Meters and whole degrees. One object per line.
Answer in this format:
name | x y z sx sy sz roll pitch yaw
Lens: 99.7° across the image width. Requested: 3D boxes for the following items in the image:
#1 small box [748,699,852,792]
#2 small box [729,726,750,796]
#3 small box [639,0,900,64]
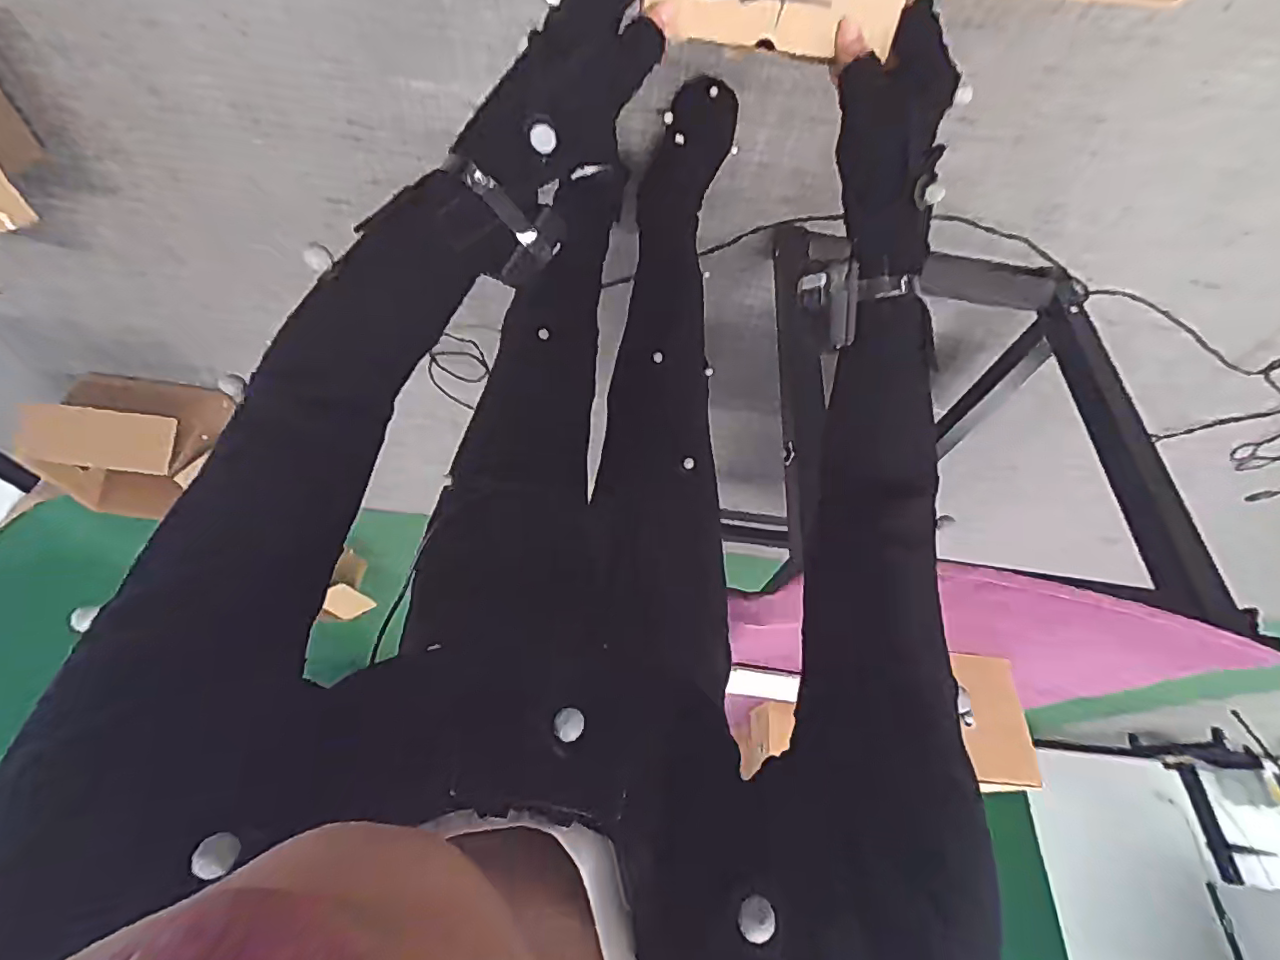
small box | 0.341 0.589 1.192 0.179 0.176 0.168 6 147 -1
small box | 0.346 0.763 1.462 0.179 0.176 0.168 8 148 -4
small box | 0.092 -0.405 0.355 0.168 0.176 0.179 5 134 -5
